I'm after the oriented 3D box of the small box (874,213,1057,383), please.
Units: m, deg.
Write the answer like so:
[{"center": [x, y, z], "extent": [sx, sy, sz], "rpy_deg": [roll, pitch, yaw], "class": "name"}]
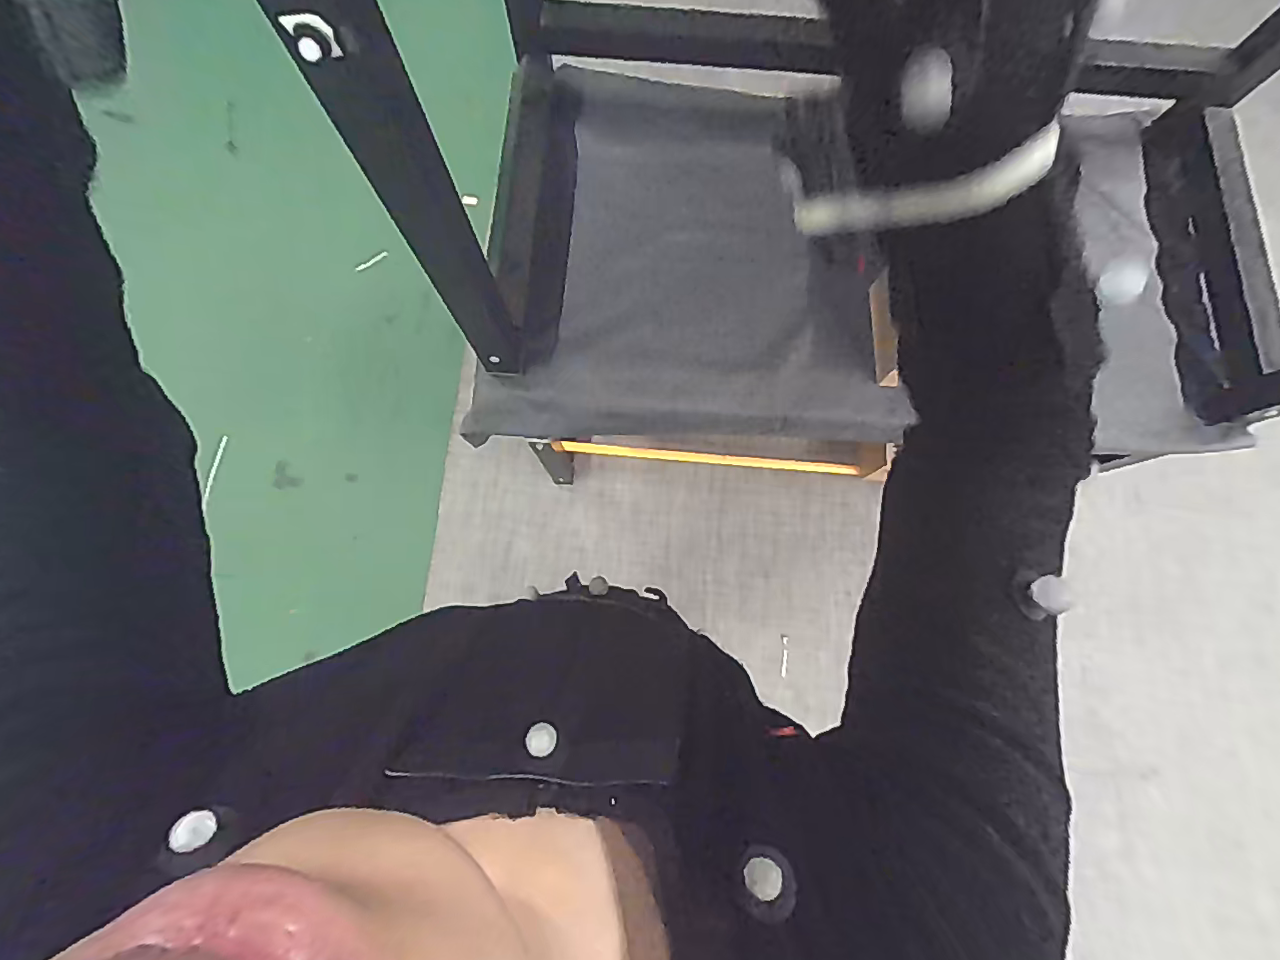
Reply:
[{"center": [0.464, -0.261, 0.802], "extent": [0.168, 0.176, 0.179], "rpy_deg": [2, 76, 0], "class": "small box"}]
